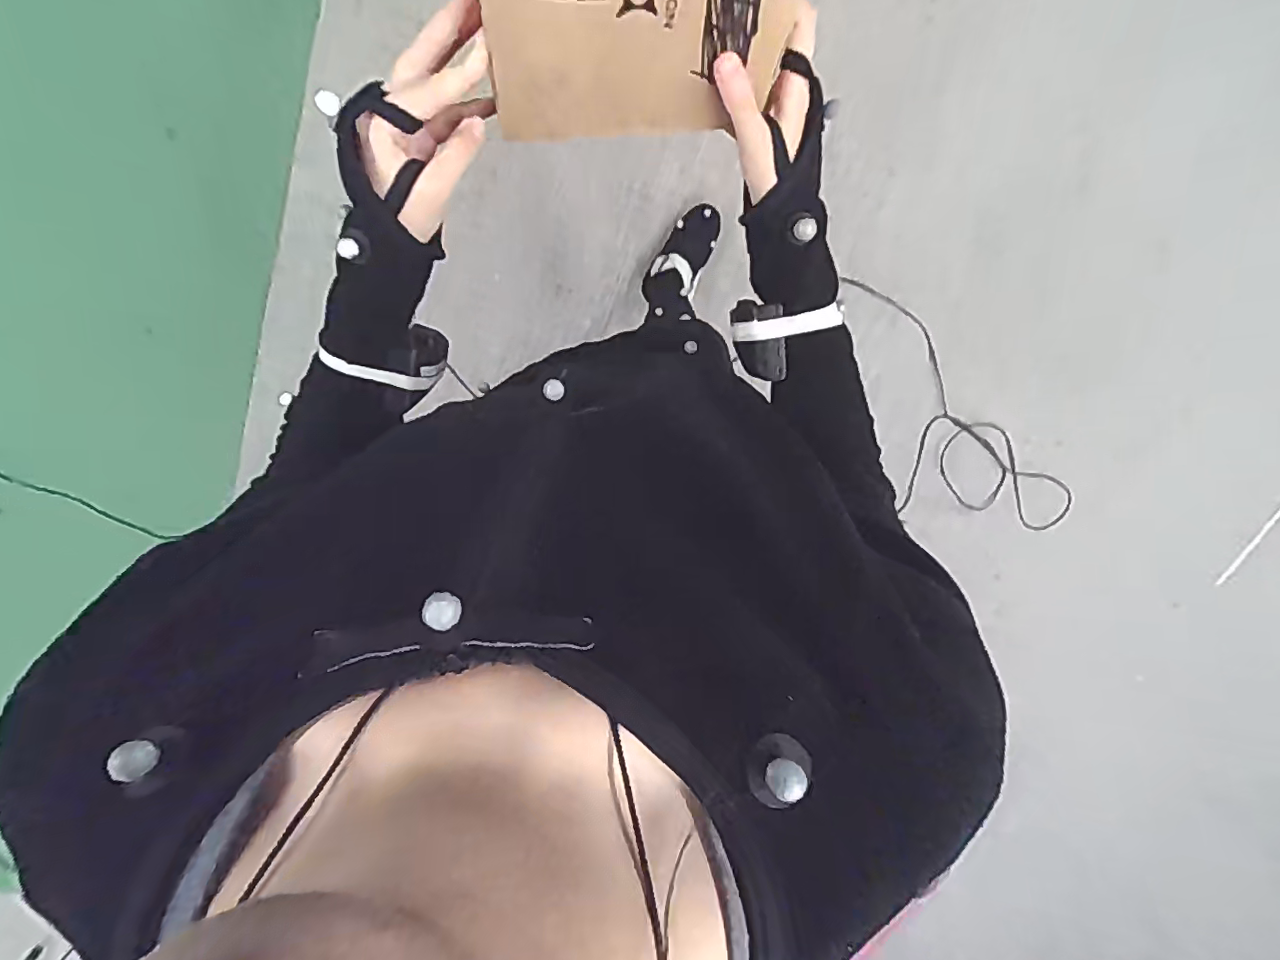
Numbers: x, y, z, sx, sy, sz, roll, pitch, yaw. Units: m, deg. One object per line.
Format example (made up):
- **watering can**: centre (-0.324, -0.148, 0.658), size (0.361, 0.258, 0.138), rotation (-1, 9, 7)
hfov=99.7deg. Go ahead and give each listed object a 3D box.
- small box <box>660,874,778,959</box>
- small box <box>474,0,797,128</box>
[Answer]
- **small box**: centre (0.133, 0.846, 0.957), size (0.168, 0.176, 0.179), rotation (16, 110, -3)
- **small box**: centre (-0.010, -0.333, 0.294), size (0.179, 0.168, 0.176), rotation (-10, 77, -11)
